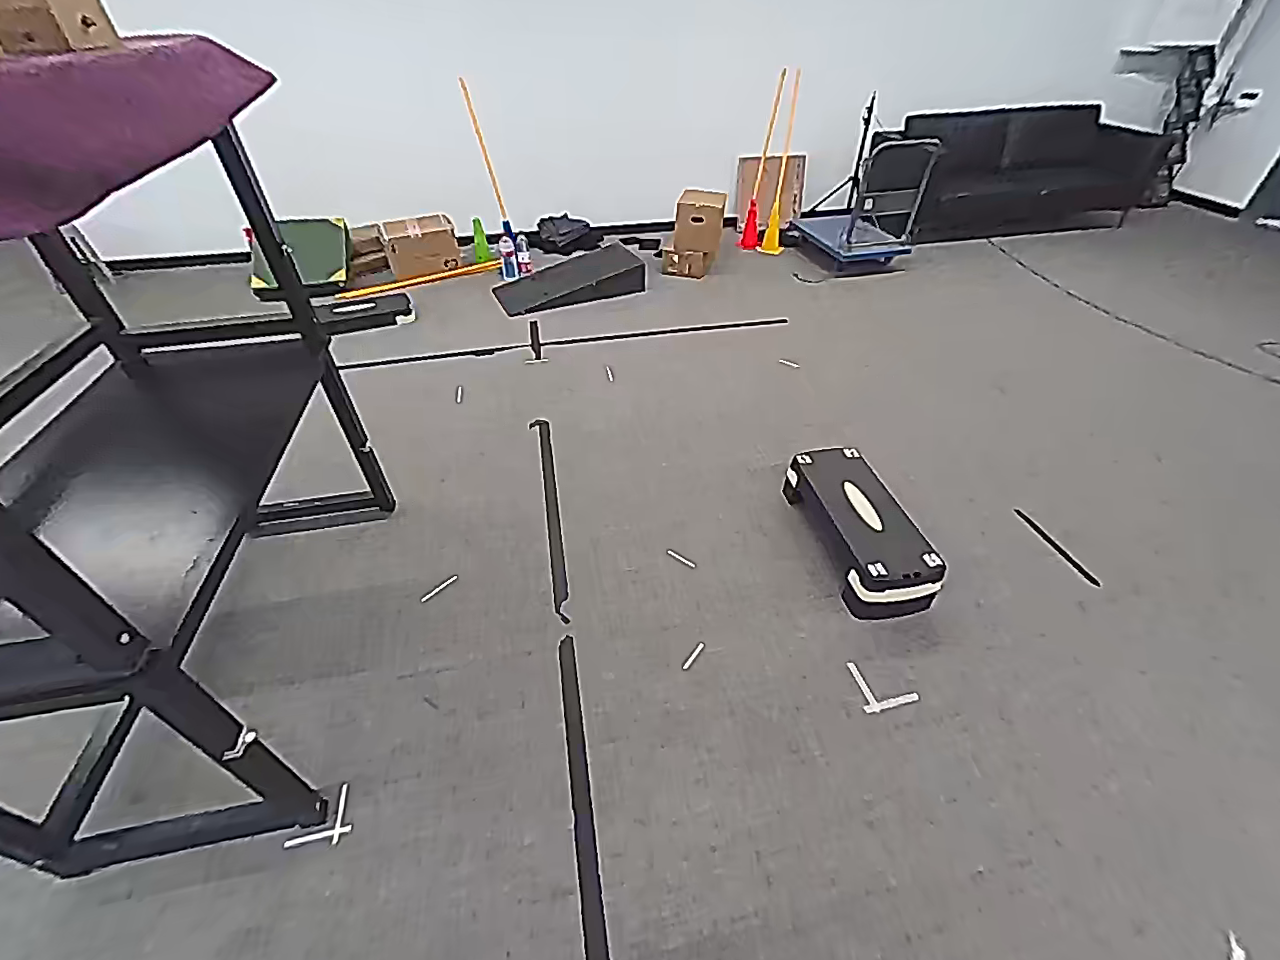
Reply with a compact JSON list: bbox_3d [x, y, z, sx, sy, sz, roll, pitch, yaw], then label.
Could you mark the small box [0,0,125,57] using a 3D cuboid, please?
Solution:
[{"bbox_3d":[-1.142,-0.911,1.021,0.168,0.176,0.179,-7,41,-6],"label":"small box"}]
